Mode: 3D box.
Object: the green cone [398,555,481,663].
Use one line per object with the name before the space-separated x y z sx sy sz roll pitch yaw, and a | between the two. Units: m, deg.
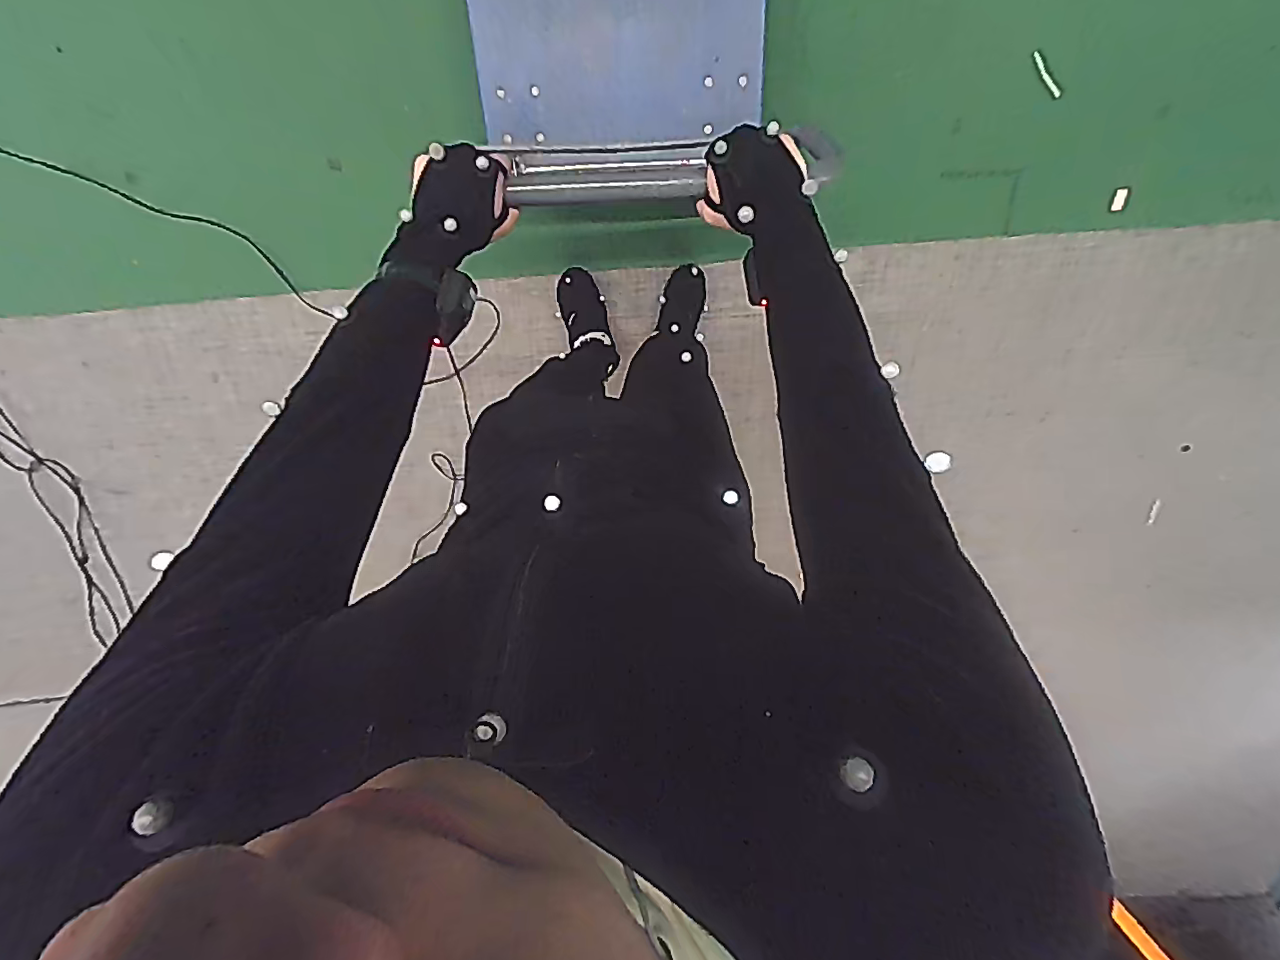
green cone | -0.664 0.422 1.697 0.202 0.368 0.200 -7 117 4
